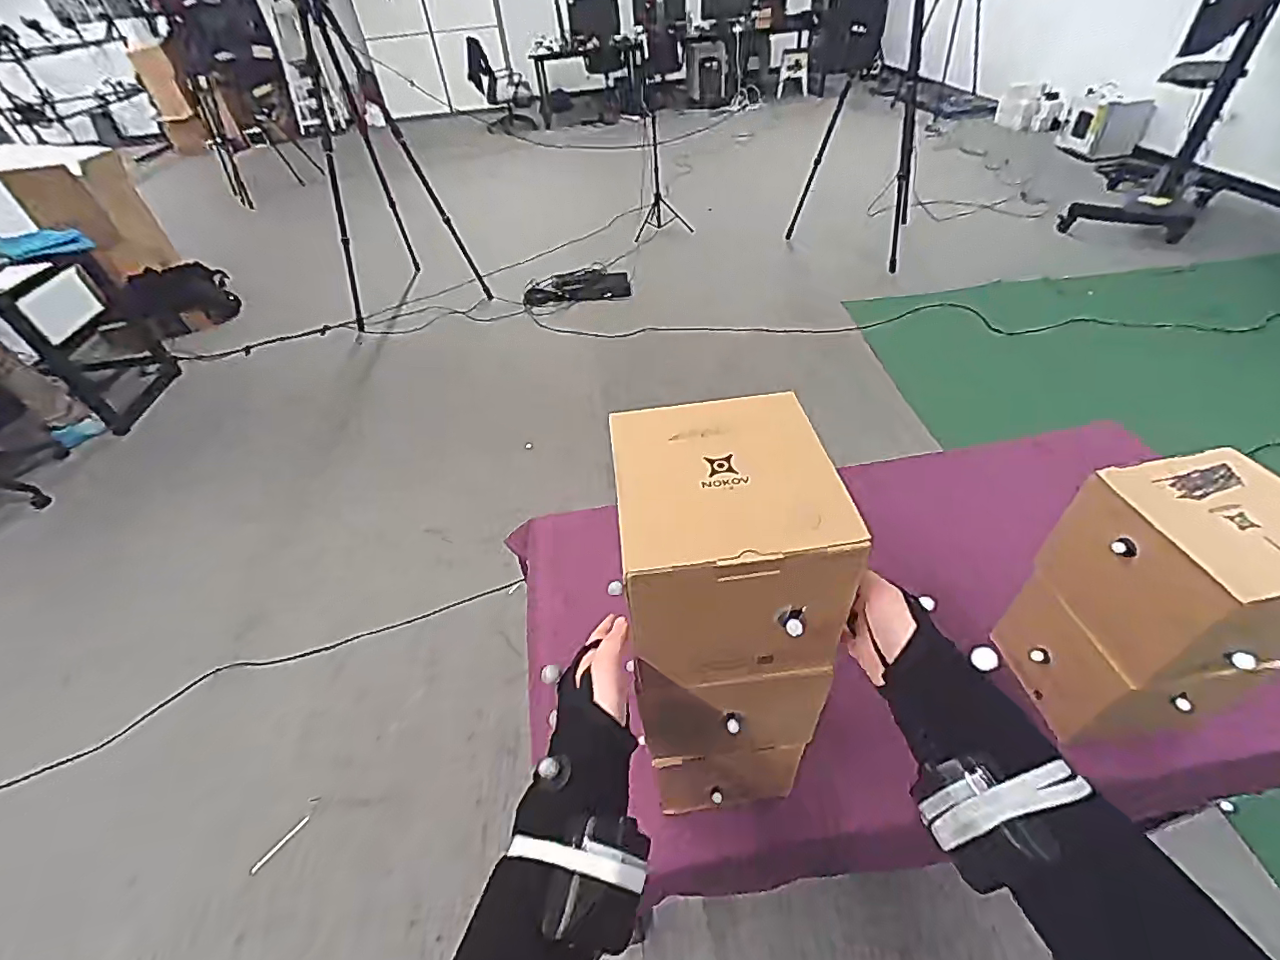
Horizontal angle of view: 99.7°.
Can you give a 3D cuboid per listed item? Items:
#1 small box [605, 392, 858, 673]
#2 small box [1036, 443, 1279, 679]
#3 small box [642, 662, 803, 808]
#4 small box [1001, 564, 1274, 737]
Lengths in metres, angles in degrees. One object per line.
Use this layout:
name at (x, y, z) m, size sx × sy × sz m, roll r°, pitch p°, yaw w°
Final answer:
small box at (0.064, 0.050, 0.467) m, size 0.168 × 0.176 × 0.179 m, roll -7°, pitch 43°, yaw -1°
small box at (0.590, 0.088, 0.591) m, size 0.168 × 0.176 × 0.179 m, roll -10°, pitch 44°, yaw -3°
small box at (0.091, 0.289, 0.690) m, size 0.168 × 0.176 × 0.179 m, roll -8°, pitch 44°, yaw -2°
small box at (0.607, 0.211, 0.699) m, size 0.179 × 0.176 × 0.168 m, roll -8°, pitch 44°, yaw -1°
